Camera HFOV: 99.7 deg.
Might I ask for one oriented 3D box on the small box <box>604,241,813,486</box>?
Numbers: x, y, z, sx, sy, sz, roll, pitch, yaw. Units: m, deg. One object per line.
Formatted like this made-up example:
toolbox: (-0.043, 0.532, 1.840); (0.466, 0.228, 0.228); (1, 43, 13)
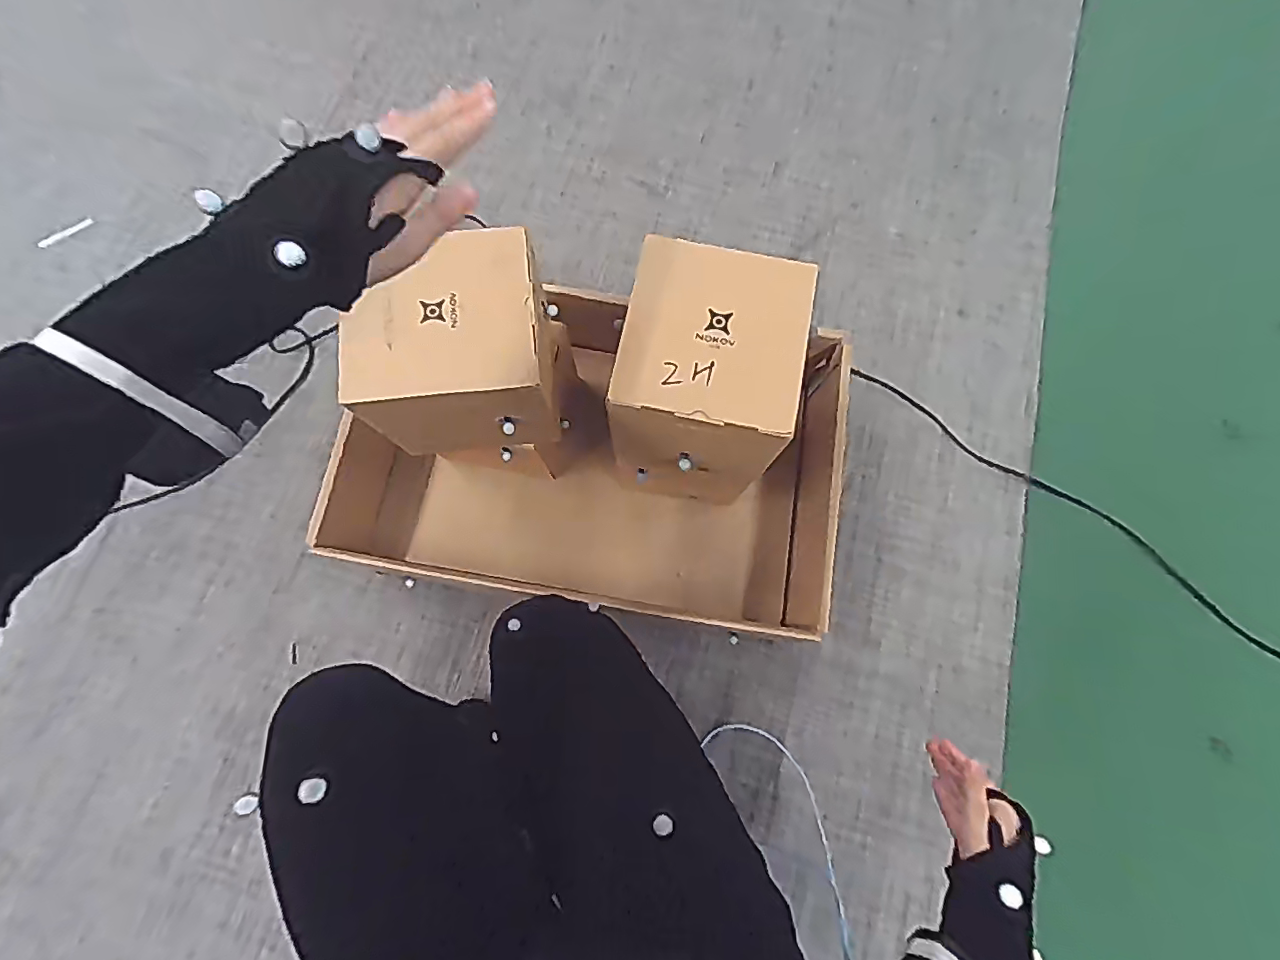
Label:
small box: (0.064, -0.108, 0.564); (0.168, 0.176, 0.179); (12, 76, 3)

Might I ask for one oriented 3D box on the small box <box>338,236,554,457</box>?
small box: (-0.187, -0.128, 0.570); (0.179, 0.176, 0.168); (-6, 77, -3)
